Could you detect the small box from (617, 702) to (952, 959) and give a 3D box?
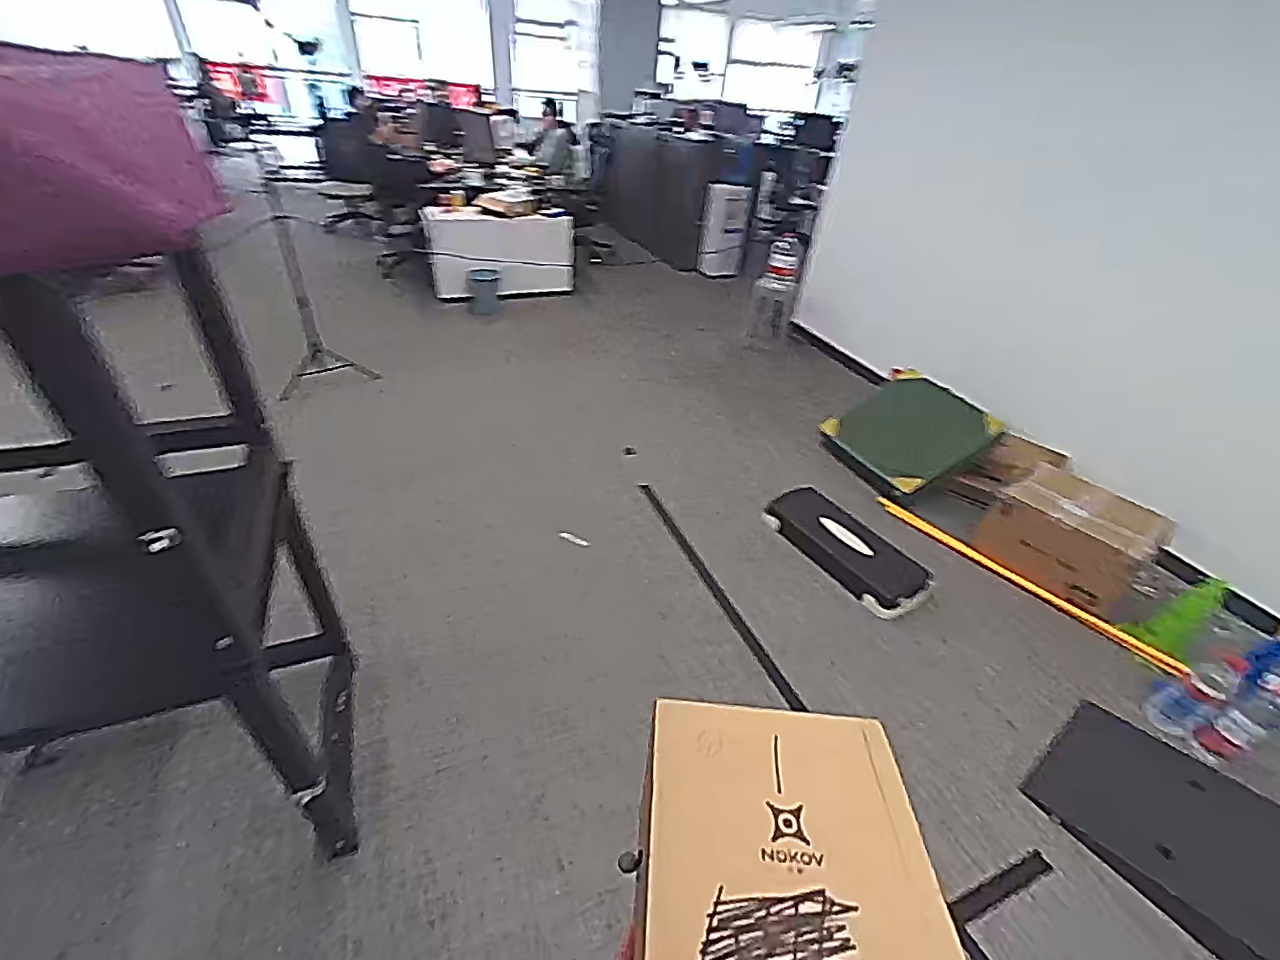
[{"bbox_3d":[0.074,0.278,0.353,0.168,0.176,0.179,5,32,0],"label":"small box"}]
